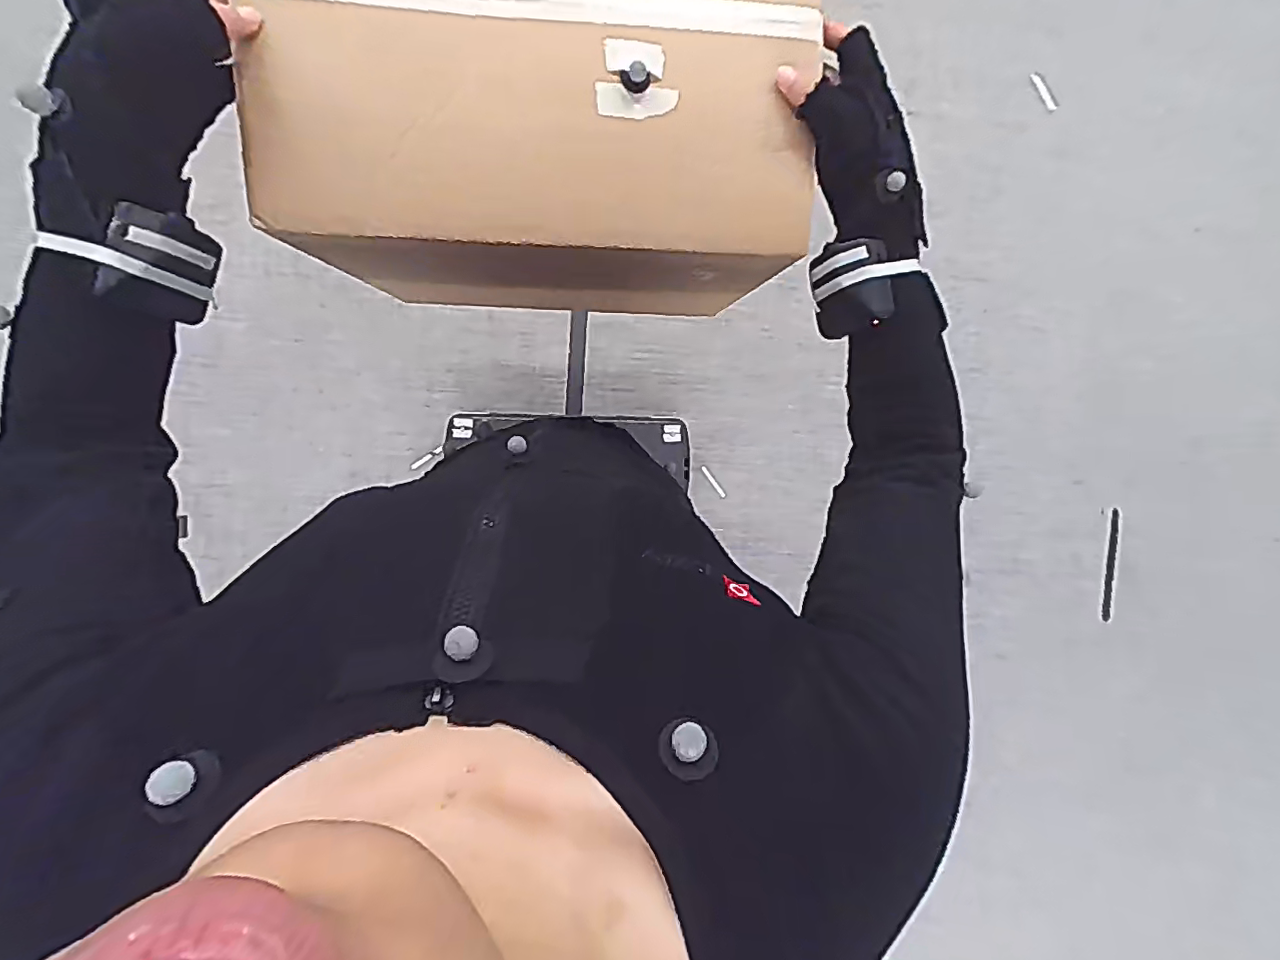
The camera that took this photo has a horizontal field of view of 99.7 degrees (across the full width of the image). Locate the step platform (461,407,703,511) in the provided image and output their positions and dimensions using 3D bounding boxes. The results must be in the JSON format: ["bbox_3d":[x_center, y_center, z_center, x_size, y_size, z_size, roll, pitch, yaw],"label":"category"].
[{"bbox_3d":[-0.162,-0.062,1.567,0.684,0.204,0.286,0,95,-6],"label":"step platform"}]

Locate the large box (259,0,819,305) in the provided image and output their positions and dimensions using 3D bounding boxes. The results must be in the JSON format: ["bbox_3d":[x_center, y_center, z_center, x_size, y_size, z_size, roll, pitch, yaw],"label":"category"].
[{"bbox_3d":[-0.079,-0.360,0.535,0.408,0.320,0.320,1,99,-6],"label":"large box"}]
